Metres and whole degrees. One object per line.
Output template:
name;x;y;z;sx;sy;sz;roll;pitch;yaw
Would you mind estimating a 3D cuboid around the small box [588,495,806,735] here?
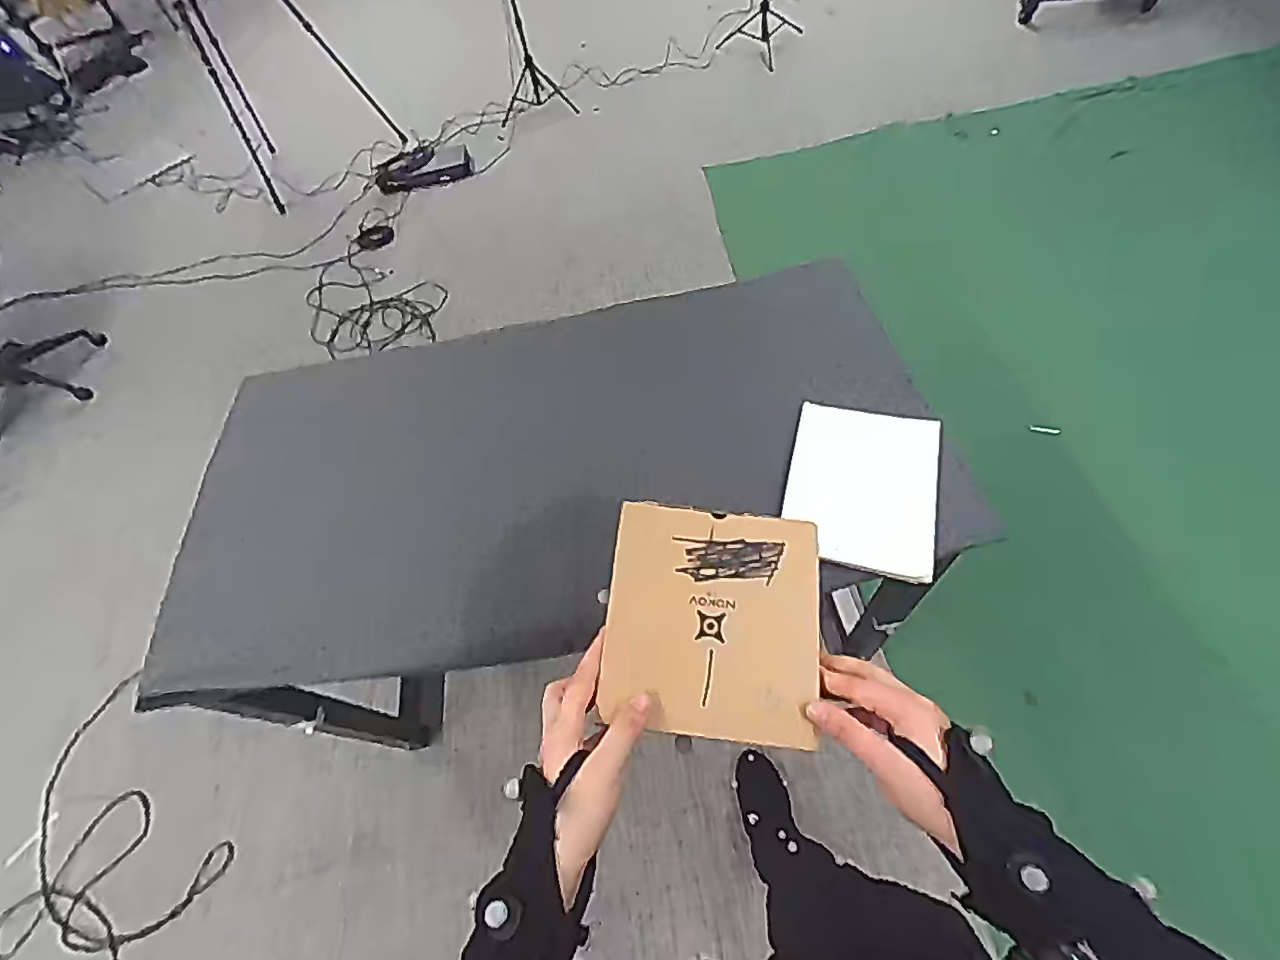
small box;0.050;0.130;0.504;0.168;0.176;0.179;5;68;3
